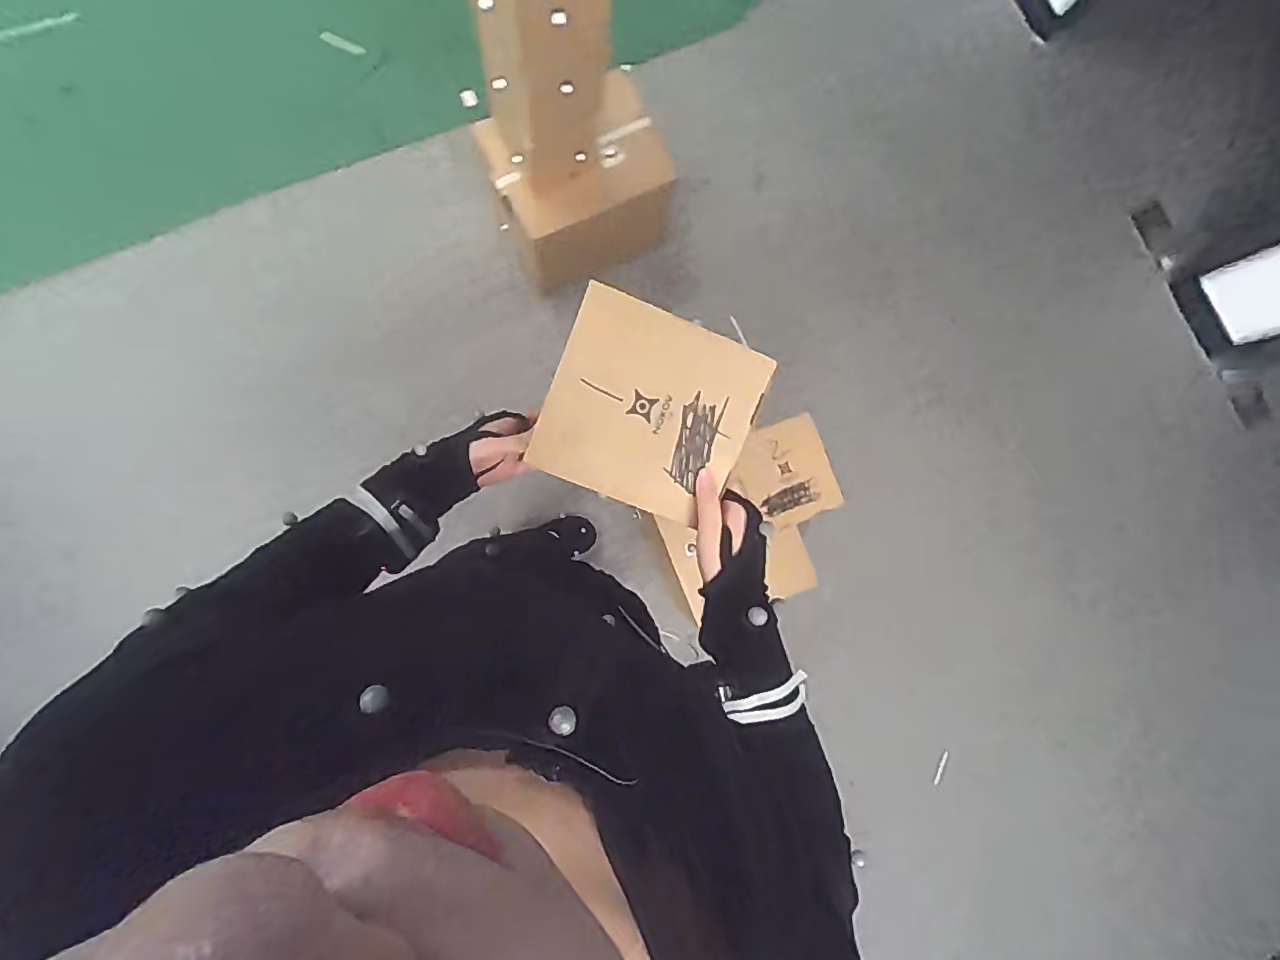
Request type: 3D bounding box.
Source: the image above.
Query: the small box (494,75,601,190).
[{"bbox_3d":[-0.197,-0.772,1.185,0.168,0.176,0.179,-28,88,-9],"label":"small box"}]

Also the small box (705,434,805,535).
[{"bbox_3d":[0.220,0.016,1.175,0.179,0.176,0.168,-20,88,-11],"label":"small box"}]

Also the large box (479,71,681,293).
[{"bbox_3d":[-0.159,-0.767,1.436,0.408,0.320,0.320,-27,89,-10],"label":"large box"}]

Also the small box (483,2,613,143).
[{"bbox_3d":[-0.169,-0.788,1.024,0.179,0.176,0.168,-32,90,-10],"label":"small box"}]

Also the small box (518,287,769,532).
[{"bbox_3d":[-0.003,-0.068,0.544,0.179,0.176,0.168,21,95,-8],"label":"small box"}]
